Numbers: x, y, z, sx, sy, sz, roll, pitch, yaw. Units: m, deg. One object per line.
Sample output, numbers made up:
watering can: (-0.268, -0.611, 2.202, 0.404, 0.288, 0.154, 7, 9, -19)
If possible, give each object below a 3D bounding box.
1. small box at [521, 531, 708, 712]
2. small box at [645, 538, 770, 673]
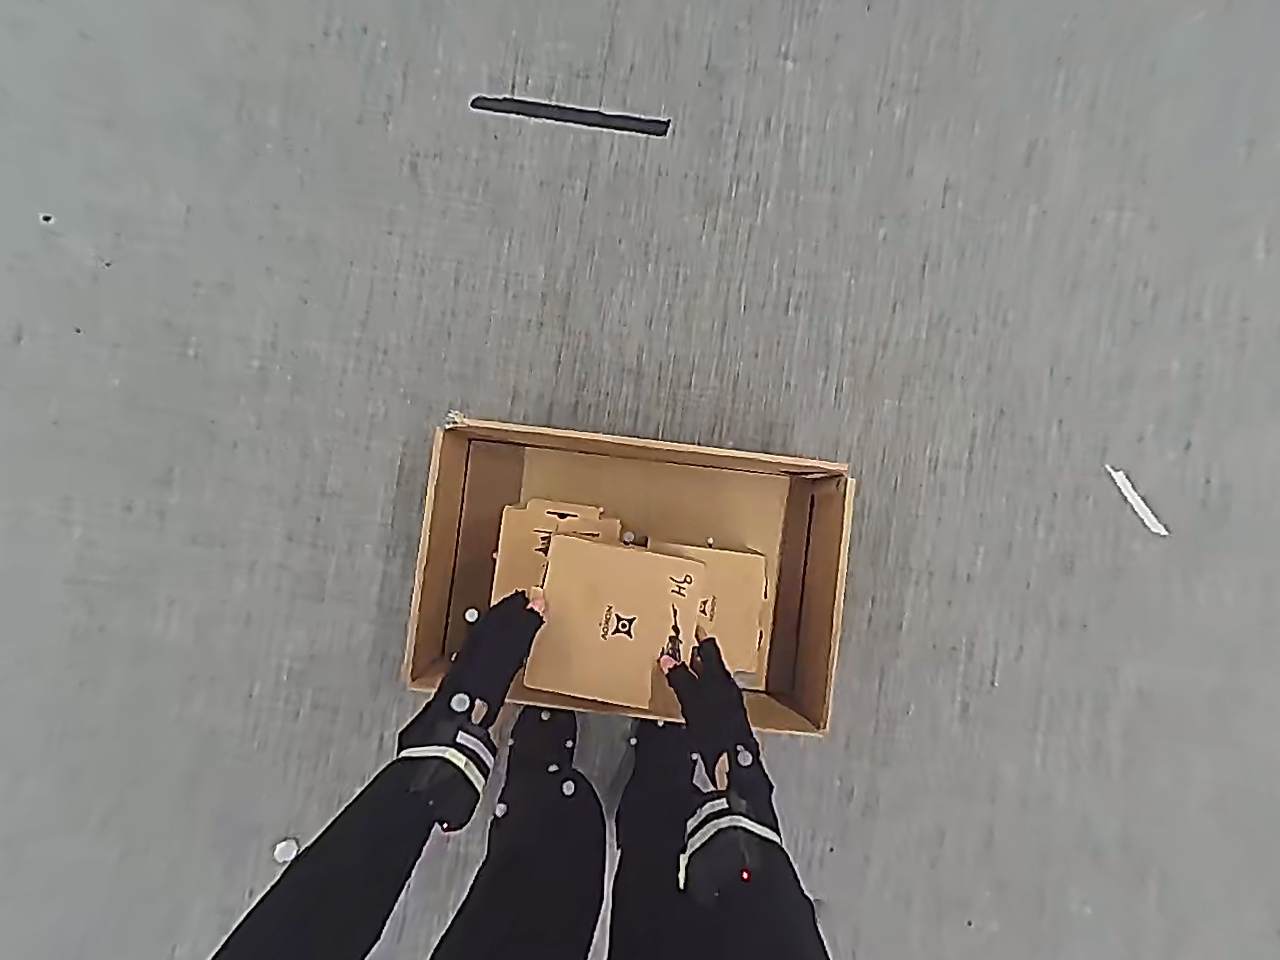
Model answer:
small box: (-0.031, 0.162, 0.661, 0.179, 0.176, 0.168, 12, 83, -3)
small box: (0.087, 0.182, 0.838, 0.179, 0.176, 0.168, 8, 86, 0)
